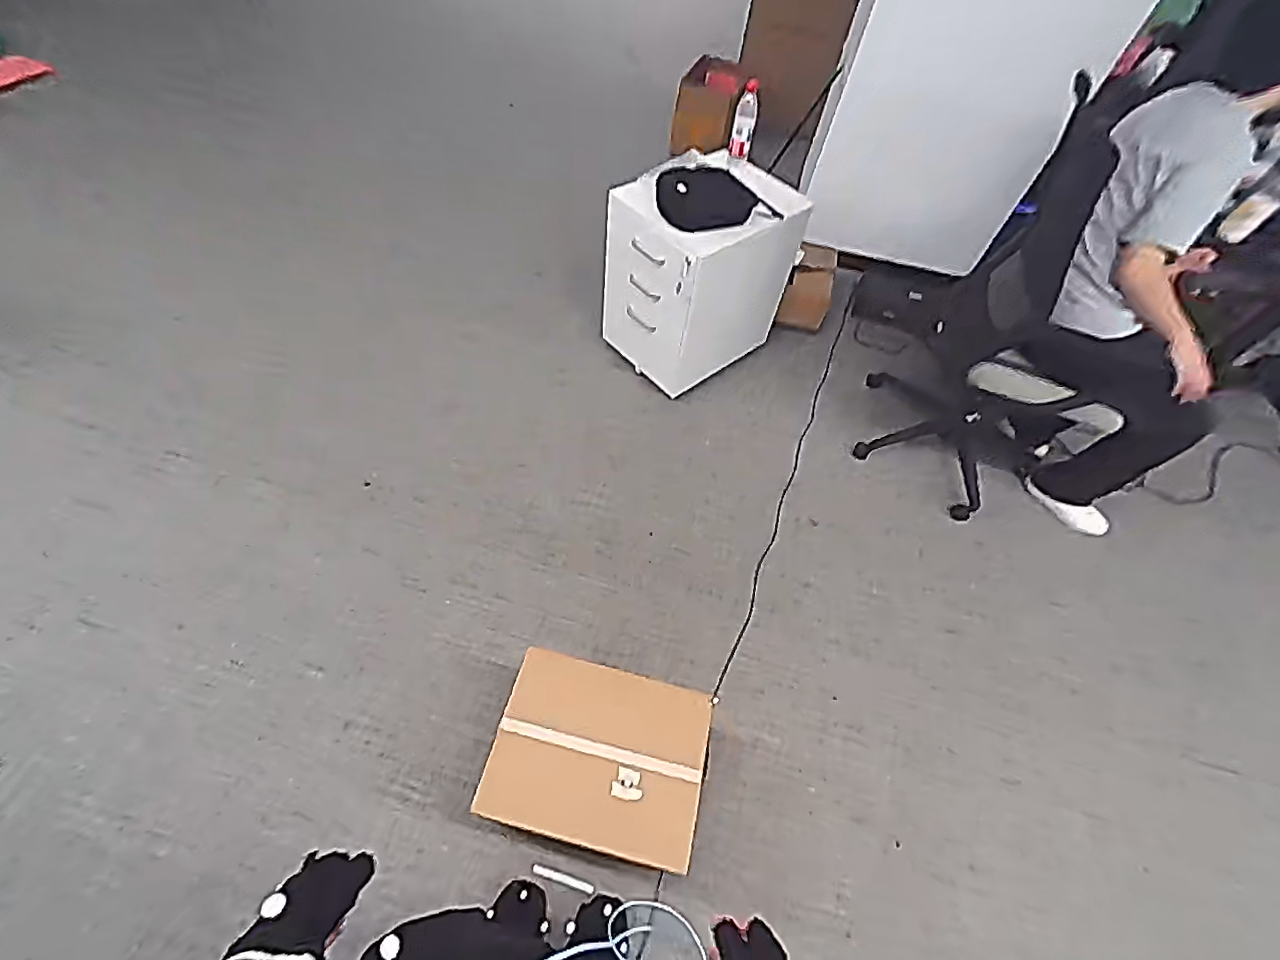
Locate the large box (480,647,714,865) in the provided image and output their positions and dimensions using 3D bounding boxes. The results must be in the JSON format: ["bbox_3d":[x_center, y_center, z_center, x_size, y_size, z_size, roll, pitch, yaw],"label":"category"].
[{"bbox_3d":[-0.085,0.605,1.181,0.408,0.320,0.320,15,56,3],"label":"large box"}]
